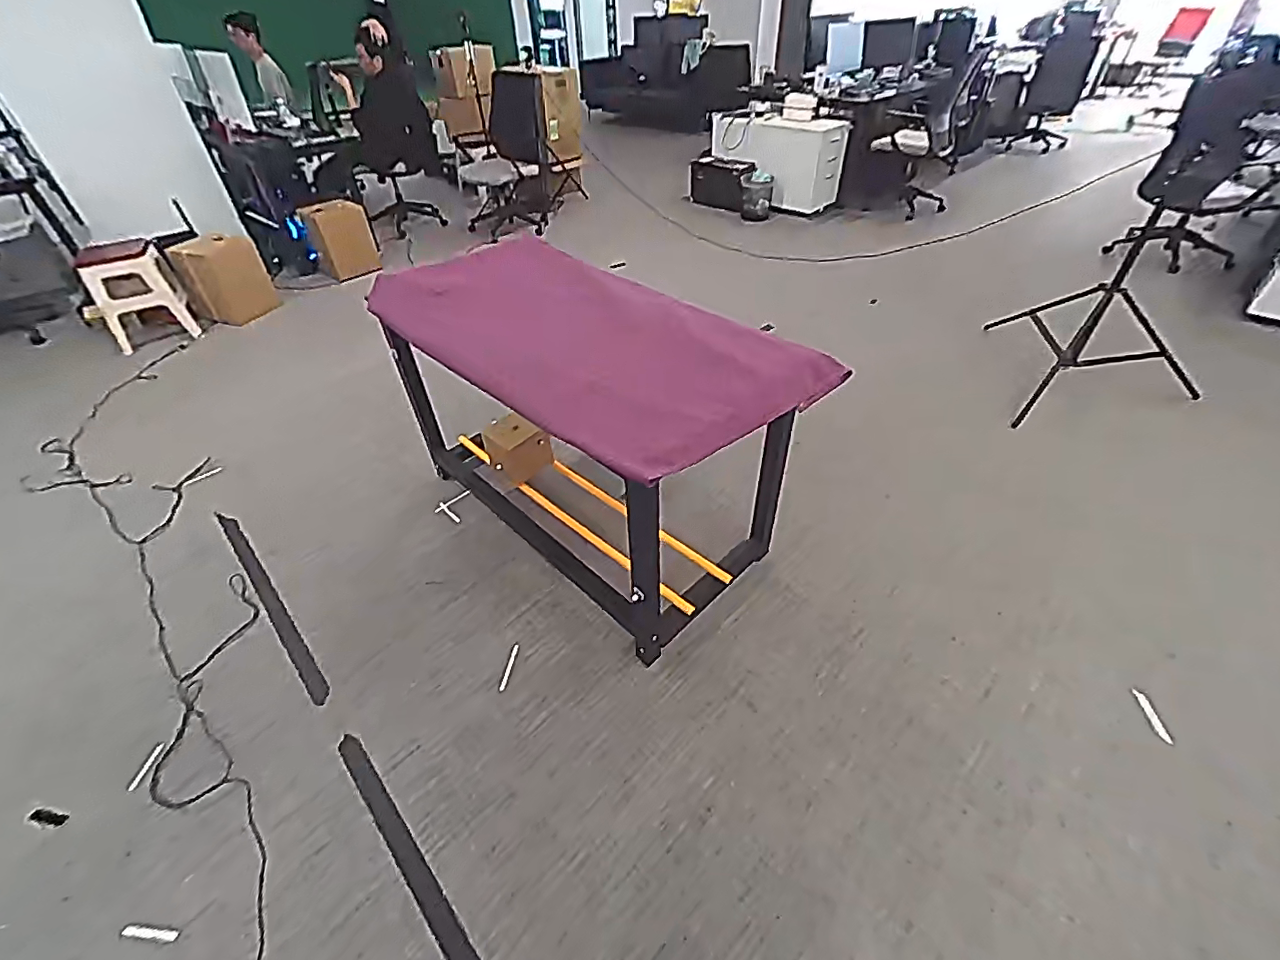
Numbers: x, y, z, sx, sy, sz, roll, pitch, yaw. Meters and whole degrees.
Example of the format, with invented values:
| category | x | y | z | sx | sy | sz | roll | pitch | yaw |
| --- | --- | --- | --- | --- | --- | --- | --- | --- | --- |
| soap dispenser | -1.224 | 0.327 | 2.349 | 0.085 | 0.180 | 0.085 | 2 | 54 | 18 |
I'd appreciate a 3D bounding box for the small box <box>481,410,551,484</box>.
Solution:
| category | x | y | z | sx | sy | sz | roll | pitch | yaw |
| --- | --- | --- | --- | --- | --- | --- | --- | --- | --- |
| small box | -0.436 | -0.118 | 1.940 | 0.168 | 0.176 | 0.179 | 30 | 53 | 31 |
